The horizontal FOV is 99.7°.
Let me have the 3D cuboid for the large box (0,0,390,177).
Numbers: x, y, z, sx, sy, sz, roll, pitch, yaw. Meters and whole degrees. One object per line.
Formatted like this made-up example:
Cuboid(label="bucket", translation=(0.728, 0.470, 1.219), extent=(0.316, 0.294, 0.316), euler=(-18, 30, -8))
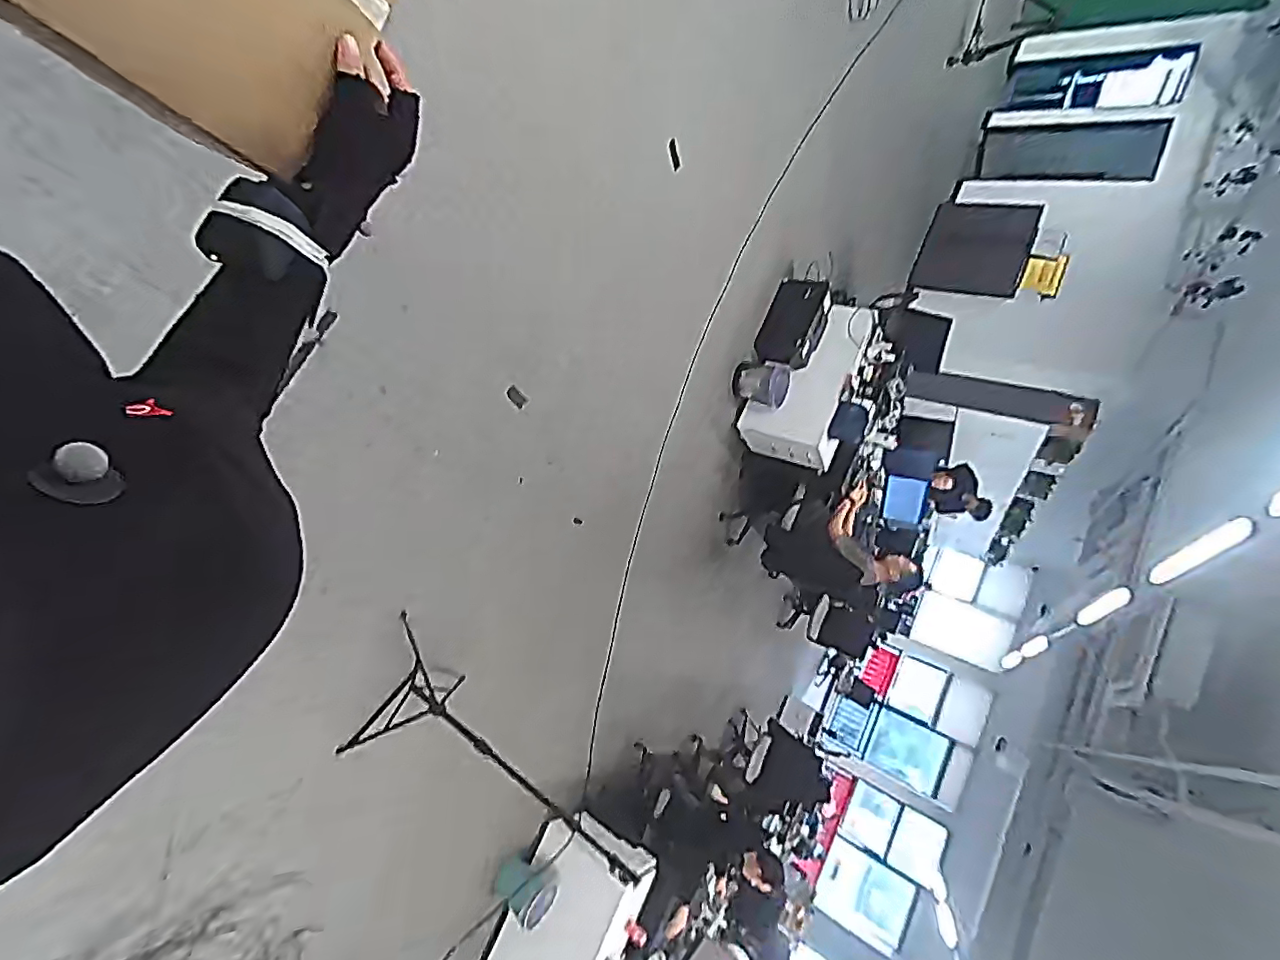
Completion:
Cuboid(label="large box", translation=(-0.423, -0.498, 0.365), extent=(0.320, 0.320, 0.408), euler=(-58, 148, 4))
